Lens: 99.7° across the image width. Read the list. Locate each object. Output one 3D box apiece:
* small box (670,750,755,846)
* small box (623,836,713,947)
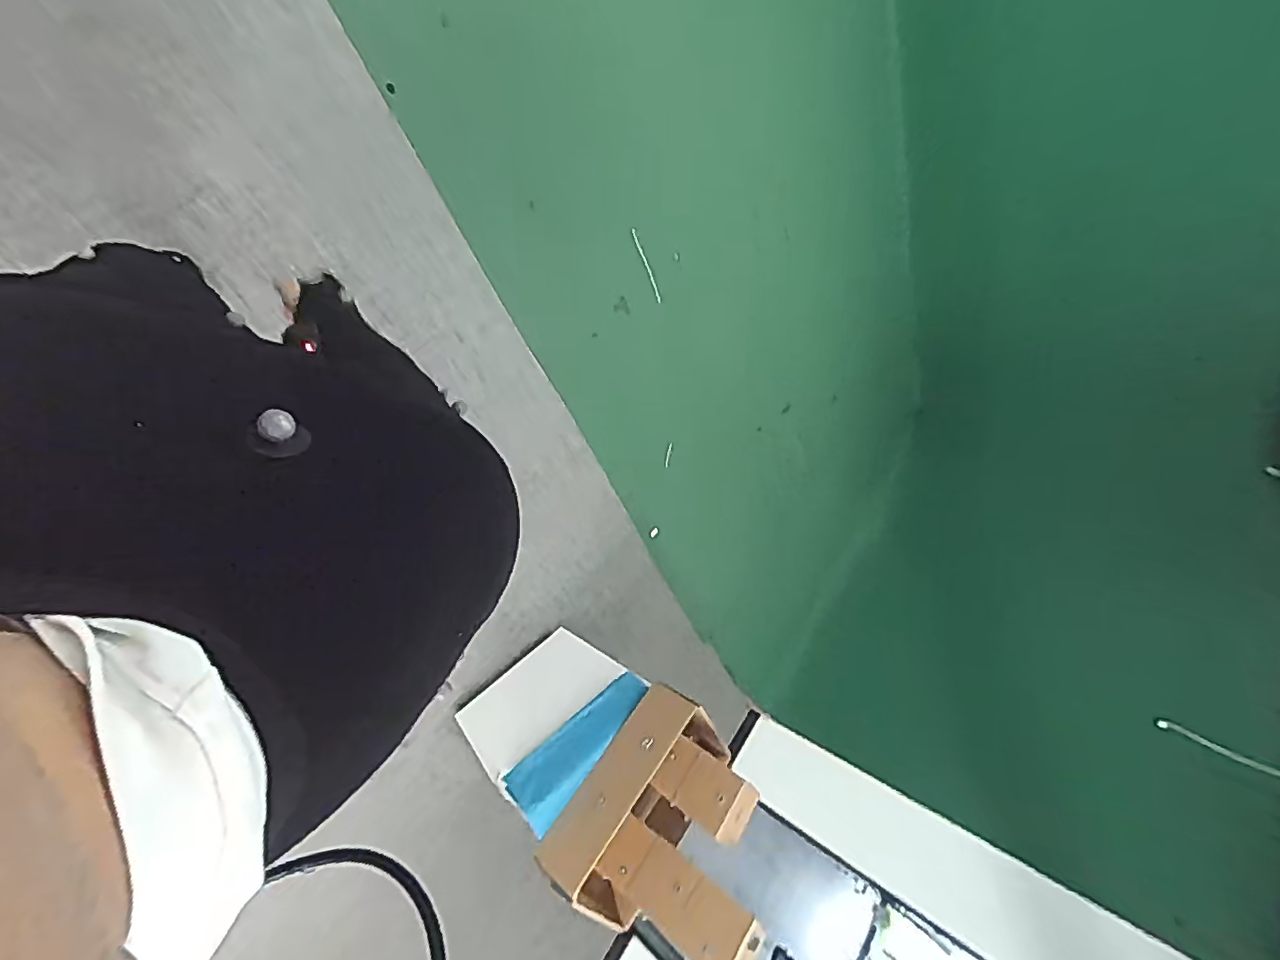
[{"bbox_3d":[0.219,0.959,1.640,0.179,0.176,0.168,-52,134,-21],"label":"small box"},{"bbox_3d":[0.080,1.182,1.564,0.179,0.176,0.168,-45,131,-28],"label":"small box"}]
